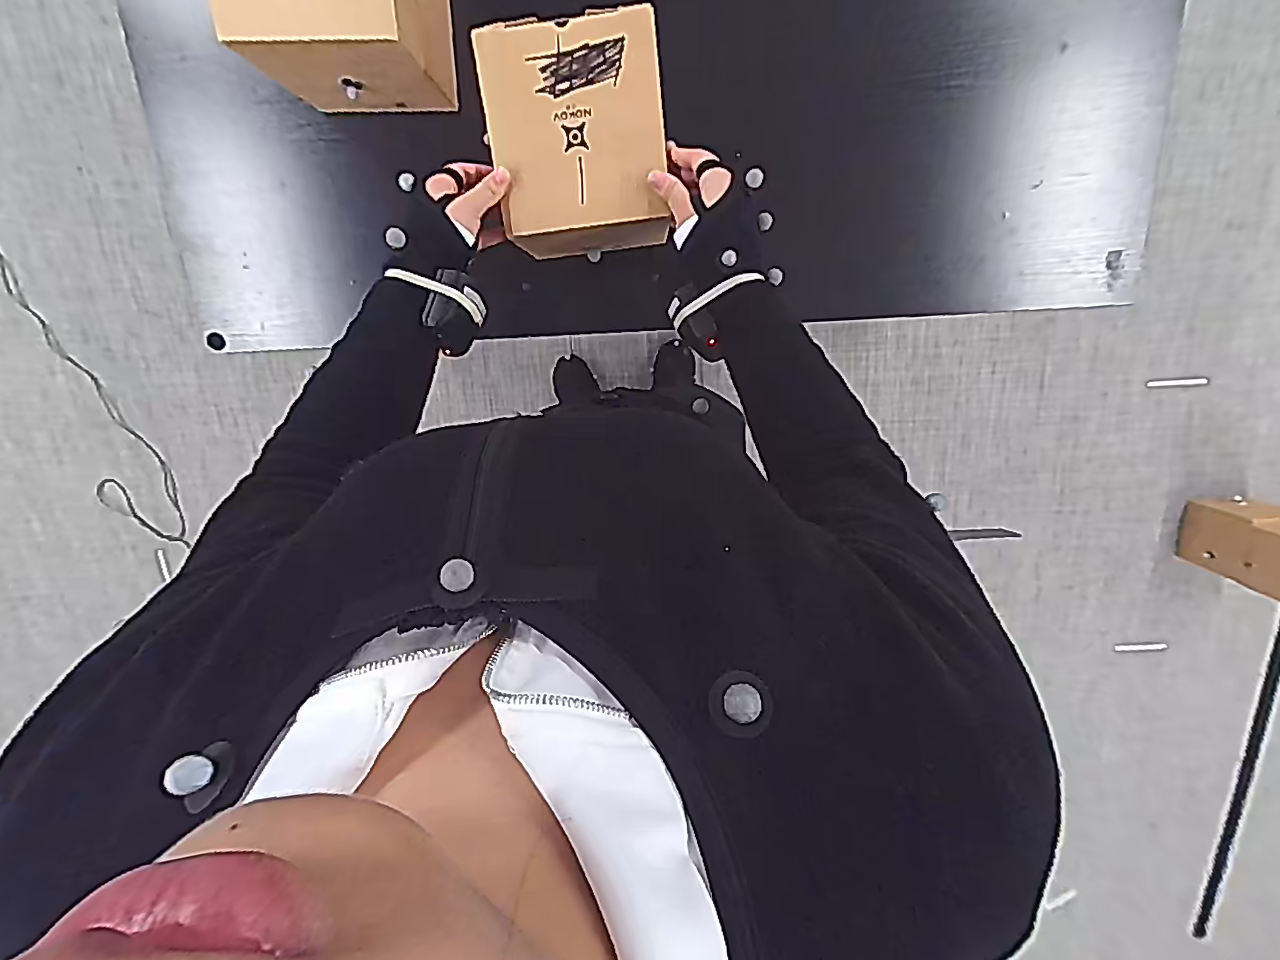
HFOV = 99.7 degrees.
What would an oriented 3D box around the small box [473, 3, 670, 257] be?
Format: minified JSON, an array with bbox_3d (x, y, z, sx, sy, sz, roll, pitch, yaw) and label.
[{"bbox_3d":[-0.061,-0.352,0.580,0.168,0.176,0.179,-6,105,3],"label":"small box"}]

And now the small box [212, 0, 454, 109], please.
[{"bbox_3d":[-0.298,-0.499,0.544,0.168,0.176,0.179,-1,105,0],"label":"small box"}]

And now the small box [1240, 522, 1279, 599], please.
[{"bbox_3d":[1.620,0.201,1.288,0.179,0.176,0.168,-5,105,1],"label":"small box"}]

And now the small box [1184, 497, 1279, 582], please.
[{"bbox_3d":[1.624,0.156,1.446,0.168,0.176,0.179,-4,104,1],"label":"small box"}]
